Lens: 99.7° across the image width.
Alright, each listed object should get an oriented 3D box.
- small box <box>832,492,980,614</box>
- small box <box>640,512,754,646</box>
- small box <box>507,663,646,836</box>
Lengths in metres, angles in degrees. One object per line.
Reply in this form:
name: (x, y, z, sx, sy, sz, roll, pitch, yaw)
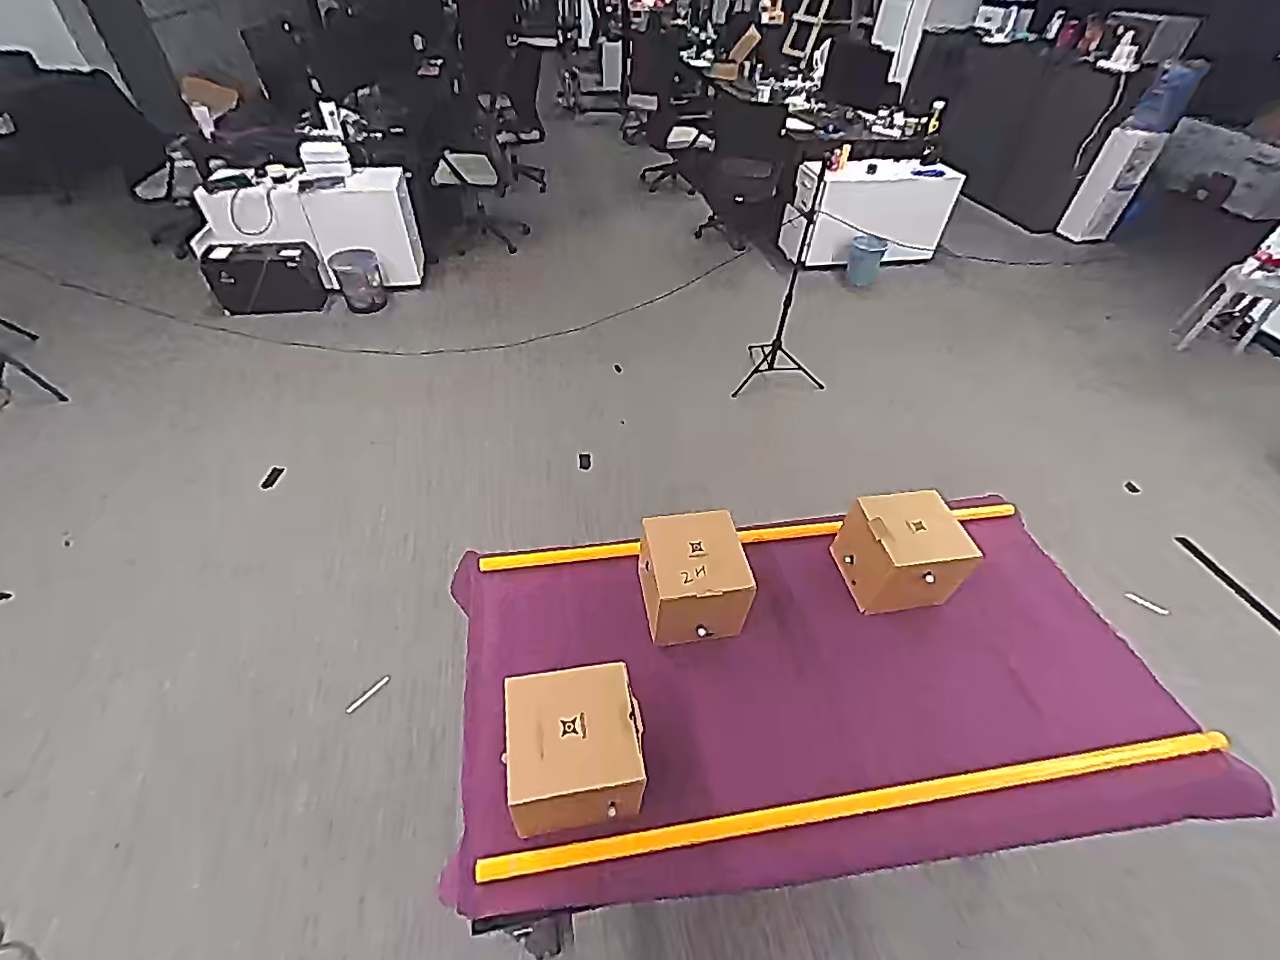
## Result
small box: (0.511, 0.145, 1.067, 0.179, 0.176, 0.168, -6, 47, -8)
small box: (0.095, 0.183, 1.004, 0.168, 0.176, 0.179, -5, 47, -8)
small box: (-0.097, 0.390, 0.784, 0.179, 0.176, 0.168, -4, 44, -11)
